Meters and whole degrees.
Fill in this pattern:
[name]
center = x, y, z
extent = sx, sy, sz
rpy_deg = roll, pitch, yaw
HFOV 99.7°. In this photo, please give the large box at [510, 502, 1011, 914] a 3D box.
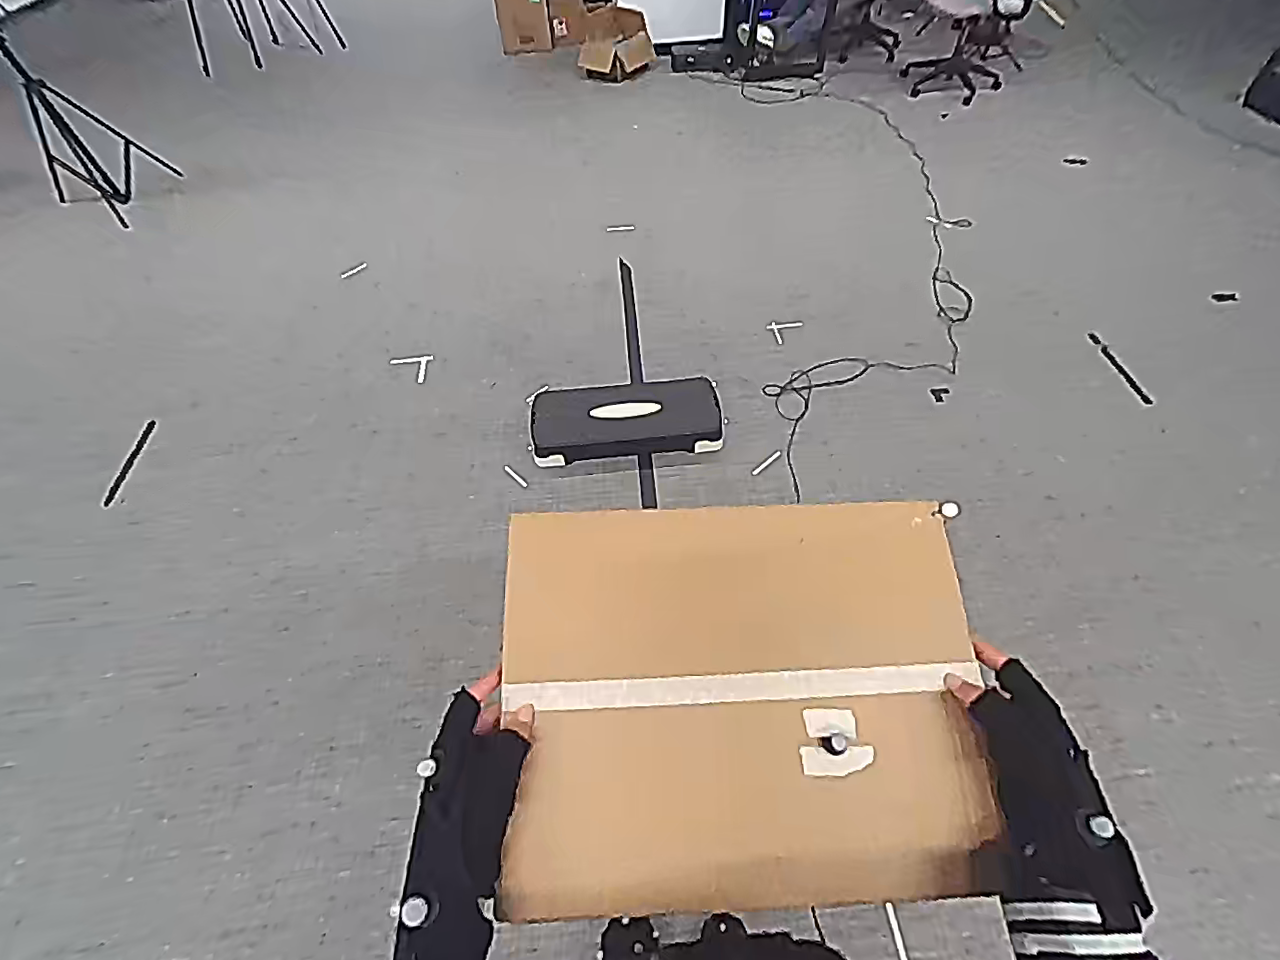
[large box]
center = 0.083, 0.226, 0.607
extent = 0.408, 0.320, 0.320
rpy_deg = -2, 71, -3
